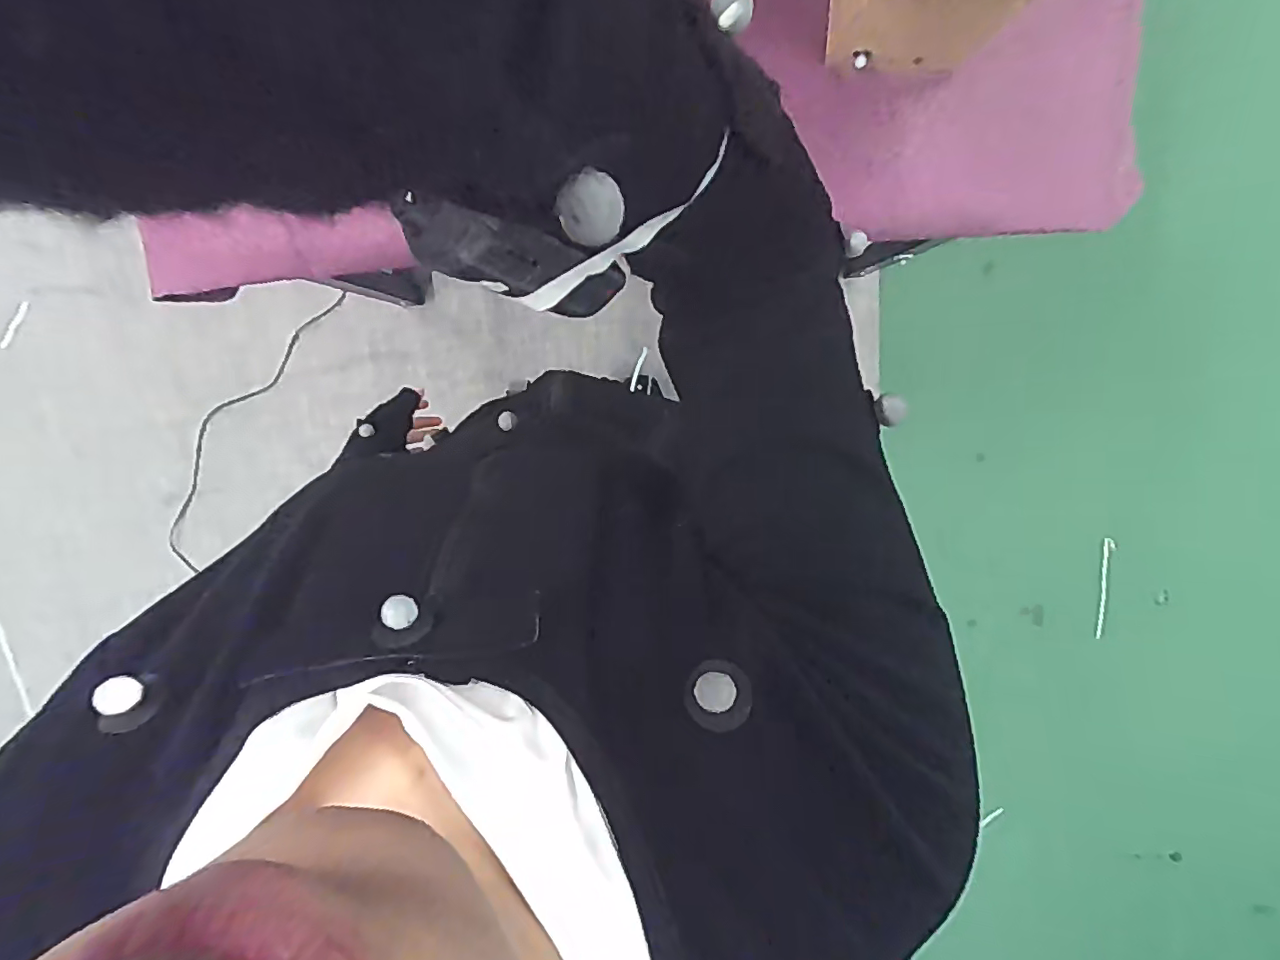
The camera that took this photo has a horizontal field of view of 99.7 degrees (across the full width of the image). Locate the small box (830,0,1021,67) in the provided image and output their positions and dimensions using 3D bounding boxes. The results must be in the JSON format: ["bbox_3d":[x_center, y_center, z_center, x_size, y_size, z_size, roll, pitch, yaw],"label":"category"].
[{"bbox_3d":[0.306,-0.561,0.550,0.168,0.176,0.179,1,101,-2],"label":"small box"}]
